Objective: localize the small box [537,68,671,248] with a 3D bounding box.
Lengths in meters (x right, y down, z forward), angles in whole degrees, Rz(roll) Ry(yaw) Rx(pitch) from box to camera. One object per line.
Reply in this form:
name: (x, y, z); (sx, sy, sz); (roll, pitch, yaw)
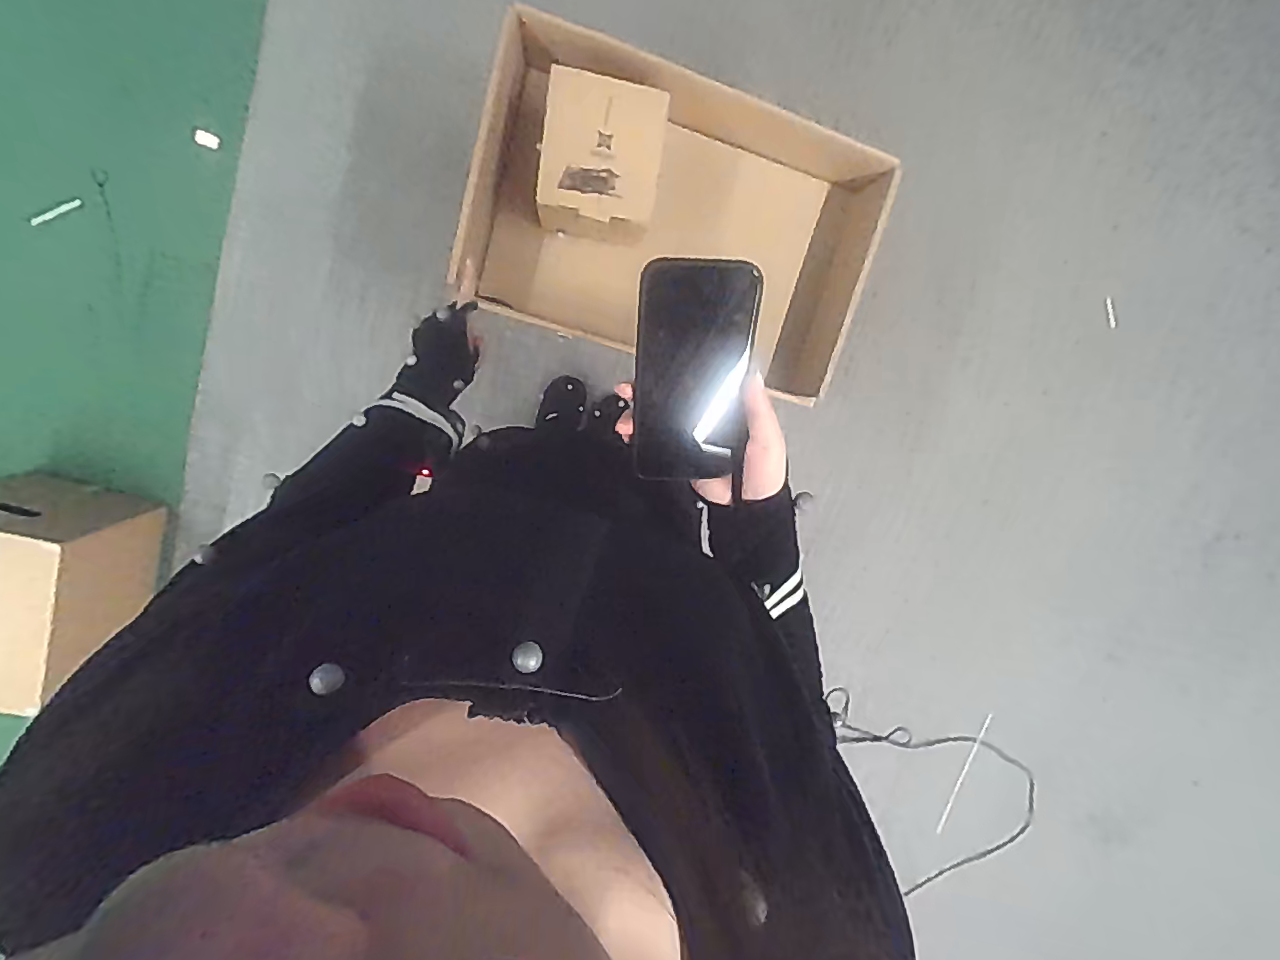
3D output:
small box: (-0.058, -0.471, 0.824); (0.168, 0.176, 0.179); (8, 100, -8)
